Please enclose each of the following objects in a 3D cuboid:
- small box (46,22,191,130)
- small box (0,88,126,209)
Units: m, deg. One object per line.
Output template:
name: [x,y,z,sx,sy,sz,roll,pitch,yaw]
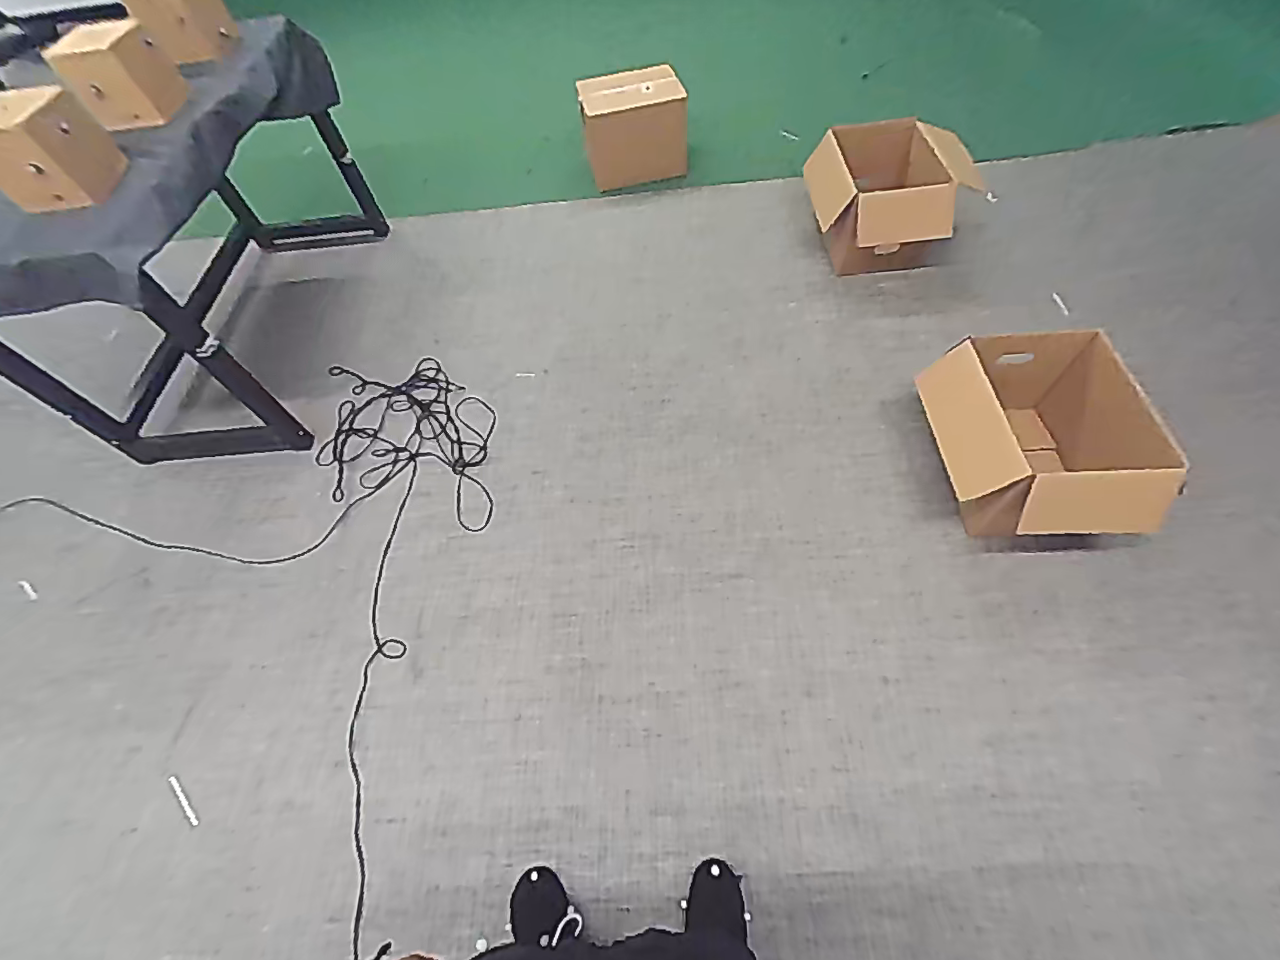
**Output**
small box: [-1.293,-1.006,1.359,0.168,0.176,0.179,-4,57,3]
small box: [-1.283,-0.706,1.165,0.168,0.176,0.179,-4,56,1]
